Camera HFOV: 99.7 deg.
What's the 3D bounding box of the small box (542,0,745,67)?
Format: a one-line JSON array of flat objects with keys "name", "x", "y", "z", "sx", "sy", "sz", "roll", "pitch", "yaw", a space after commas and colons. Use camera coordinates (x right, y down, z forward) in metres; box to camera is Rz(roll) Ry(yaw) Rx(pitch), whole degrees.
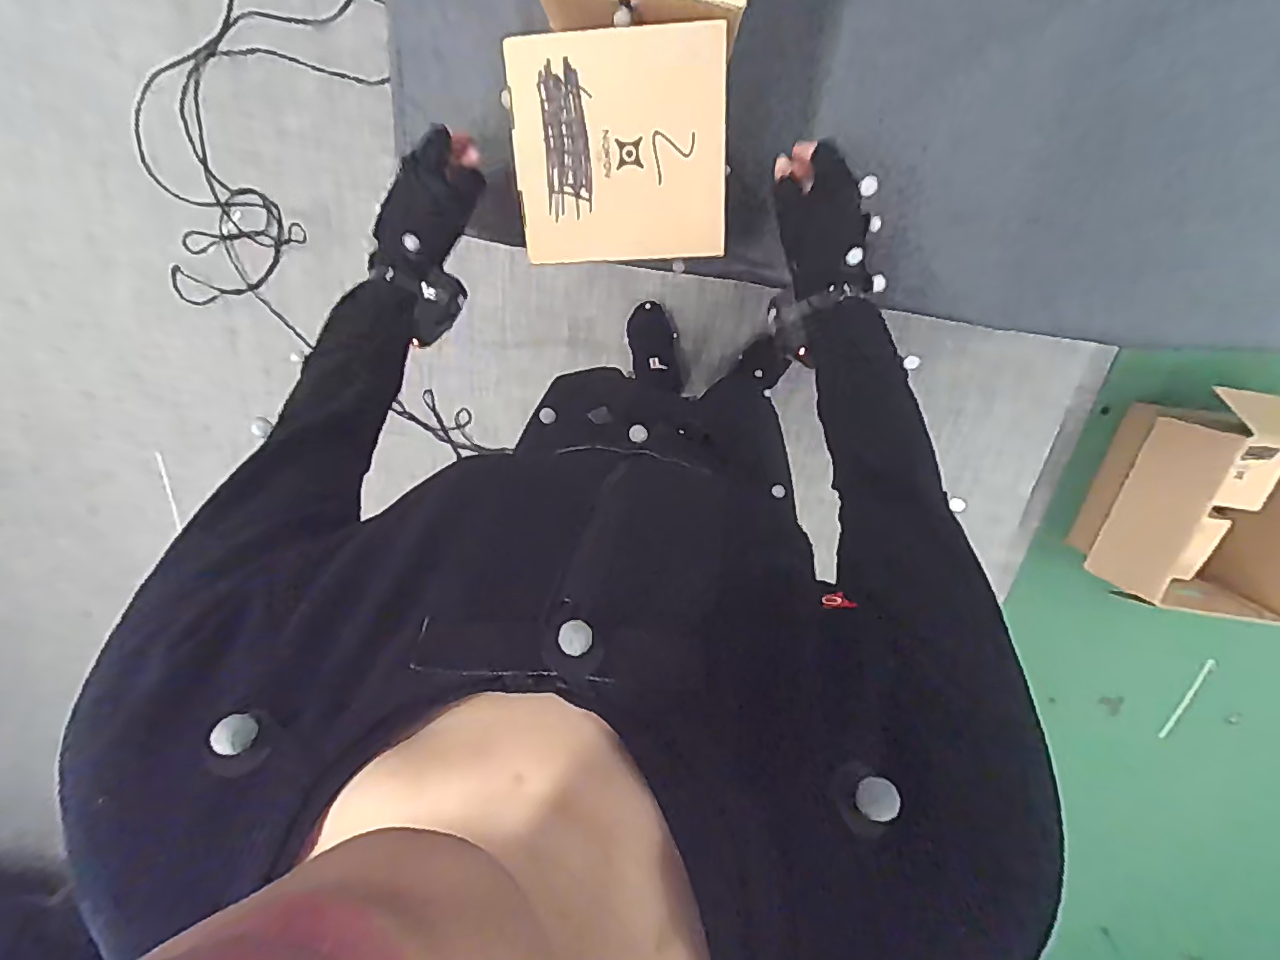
[{"name": "small box", "x": 0.012, "y": -0.473, "z": 0.445, "sx": 0.179, "sy": 0.176, "sz": 0.168, "roll": 12, "pitch": 112, "yaw": 0}]
